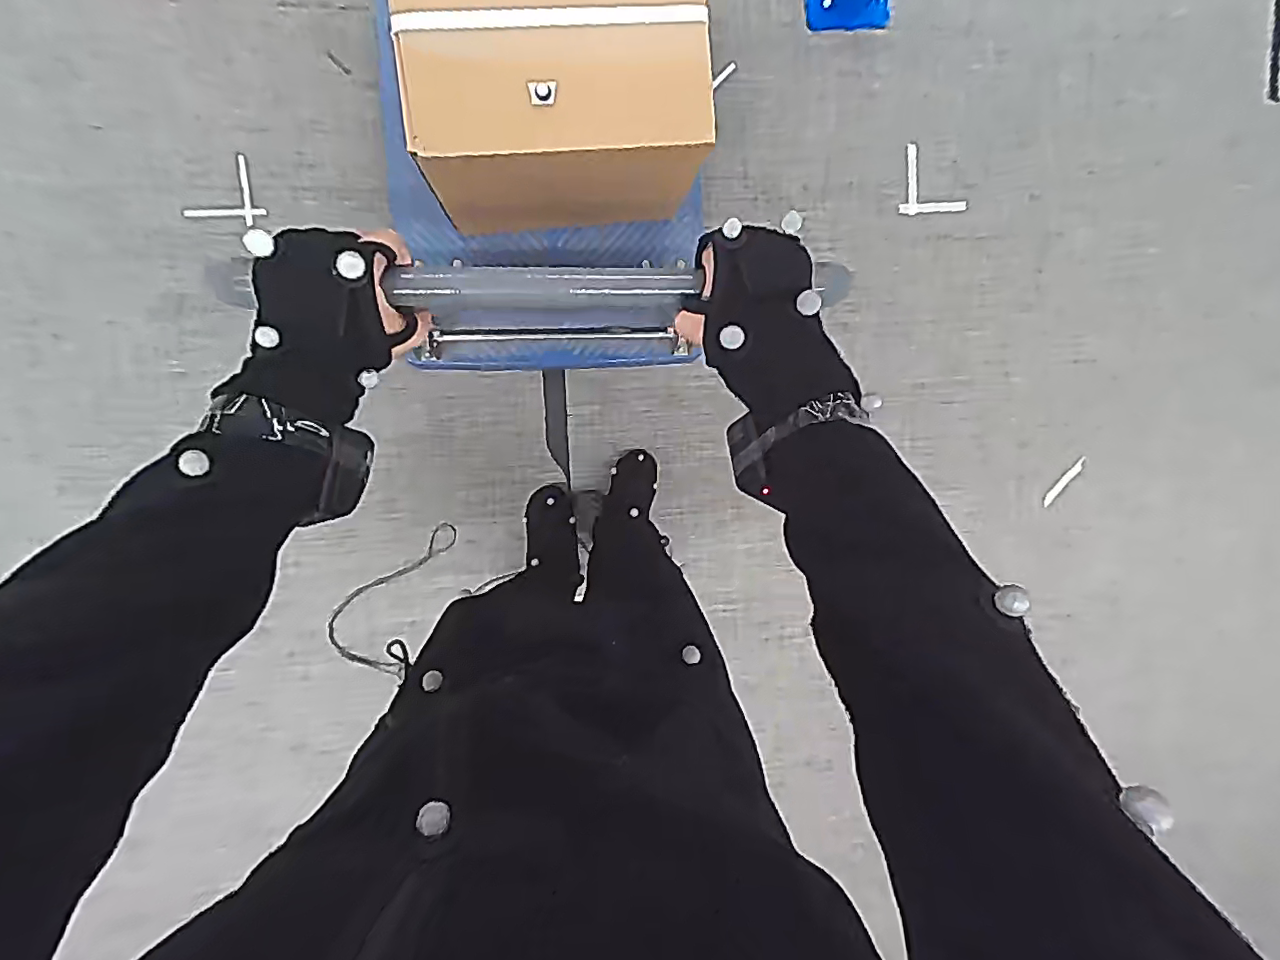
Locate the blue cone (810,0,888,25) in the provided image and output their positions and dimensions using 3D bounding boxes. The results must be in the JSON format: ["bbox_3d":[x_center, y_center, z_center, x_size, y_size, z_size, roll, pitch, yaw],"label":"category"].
[{"bbox_3d":[0.482,-1.096,1.037,0.193,0.380,0.192,-7,96,-7],"label":"blue cone"}]
